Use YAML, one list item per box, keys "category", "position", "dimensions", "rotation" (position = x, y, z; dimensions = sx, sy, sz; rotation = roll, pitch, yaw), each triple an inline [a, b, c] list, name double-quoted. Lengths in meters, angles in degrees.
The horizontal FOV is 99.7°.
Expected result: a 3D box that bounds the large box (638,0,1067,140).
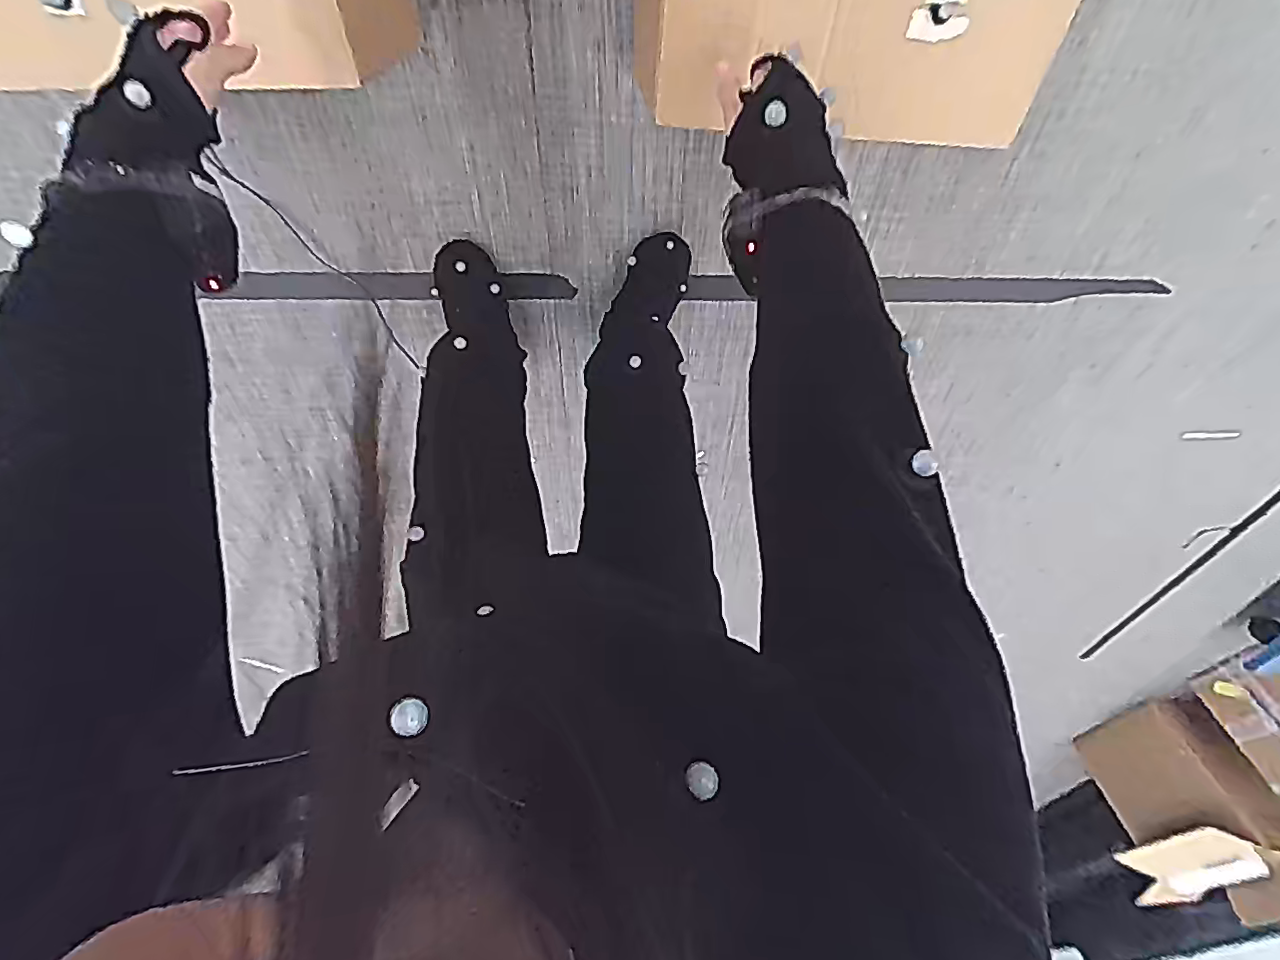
- category: "large box"
  position: [0.214, -0.598, 0.603]
  dimensions: [0.408, 0.320, 0.320]
  rotation: [0, 133, -7]
